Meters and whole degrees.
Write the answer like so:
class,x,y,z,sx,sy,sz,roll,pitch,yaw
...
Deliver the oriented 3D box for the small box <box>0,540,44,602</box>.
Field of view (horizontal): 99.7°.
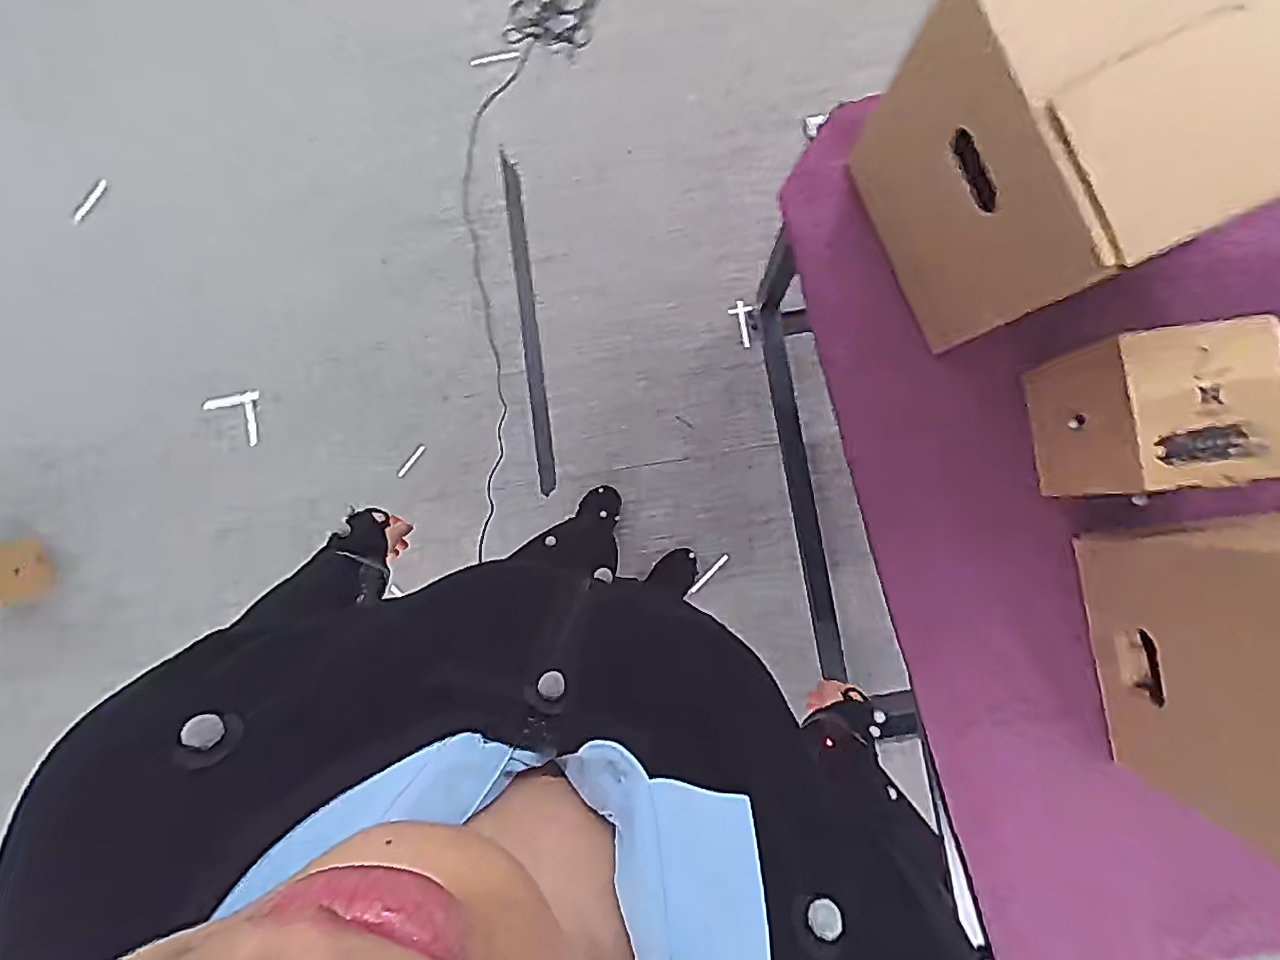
class,x,y,z,sx,sy,sz,roll,pitch,yaw
small box,-1.842,0.265,1.520,0.179,0.176,0.168,-10,86,3
